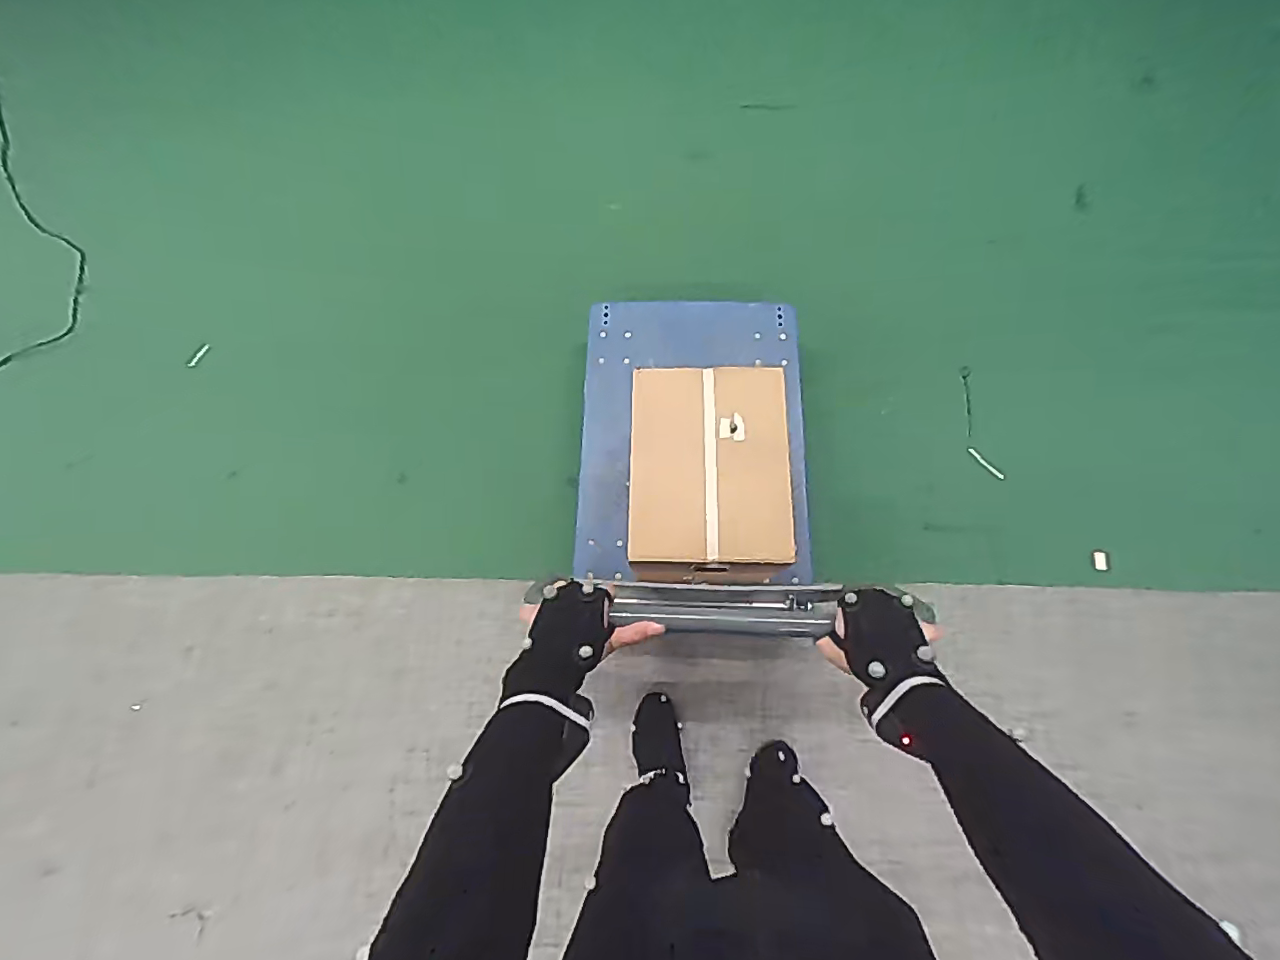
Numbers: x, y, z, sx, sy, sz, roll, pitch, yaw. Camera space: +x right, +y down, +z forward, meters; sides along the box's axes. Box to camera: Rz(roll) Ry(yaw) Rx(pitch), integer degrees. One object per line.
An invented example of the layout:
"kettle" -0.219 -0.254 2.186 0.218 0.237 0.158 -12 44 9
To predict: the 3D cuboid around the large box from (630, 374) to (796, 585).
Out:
"large box" 0.145 0.016 1.206 0.320 0.320 0.408 1 72 2
